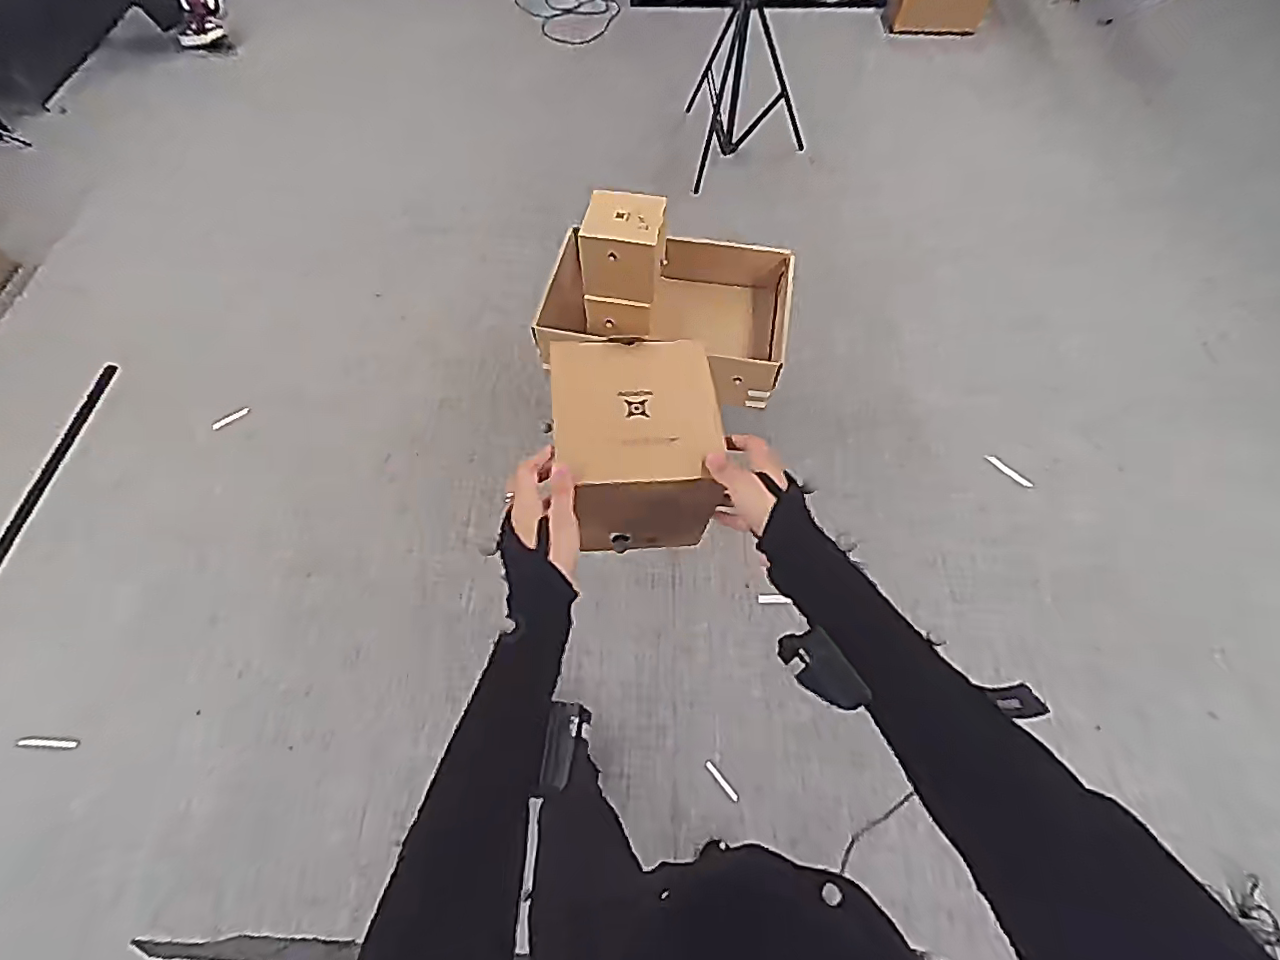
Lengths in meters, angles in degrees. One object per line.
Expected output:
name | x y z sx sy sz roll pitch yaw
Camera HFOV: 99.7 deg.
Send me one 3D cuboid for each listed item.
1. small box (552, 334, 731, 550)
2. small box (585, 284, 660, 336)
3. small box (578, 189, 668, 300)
small box | -0.011 -0.038 0.597 0.168 0.176 0.179 -3 60 -7
small box | -0.039 -0.466 1.413 0.168 0.176 0.179 9 62 4
small box | -0.035 -0.548 1.270 0.179 0.176 0.168 10 63 5
